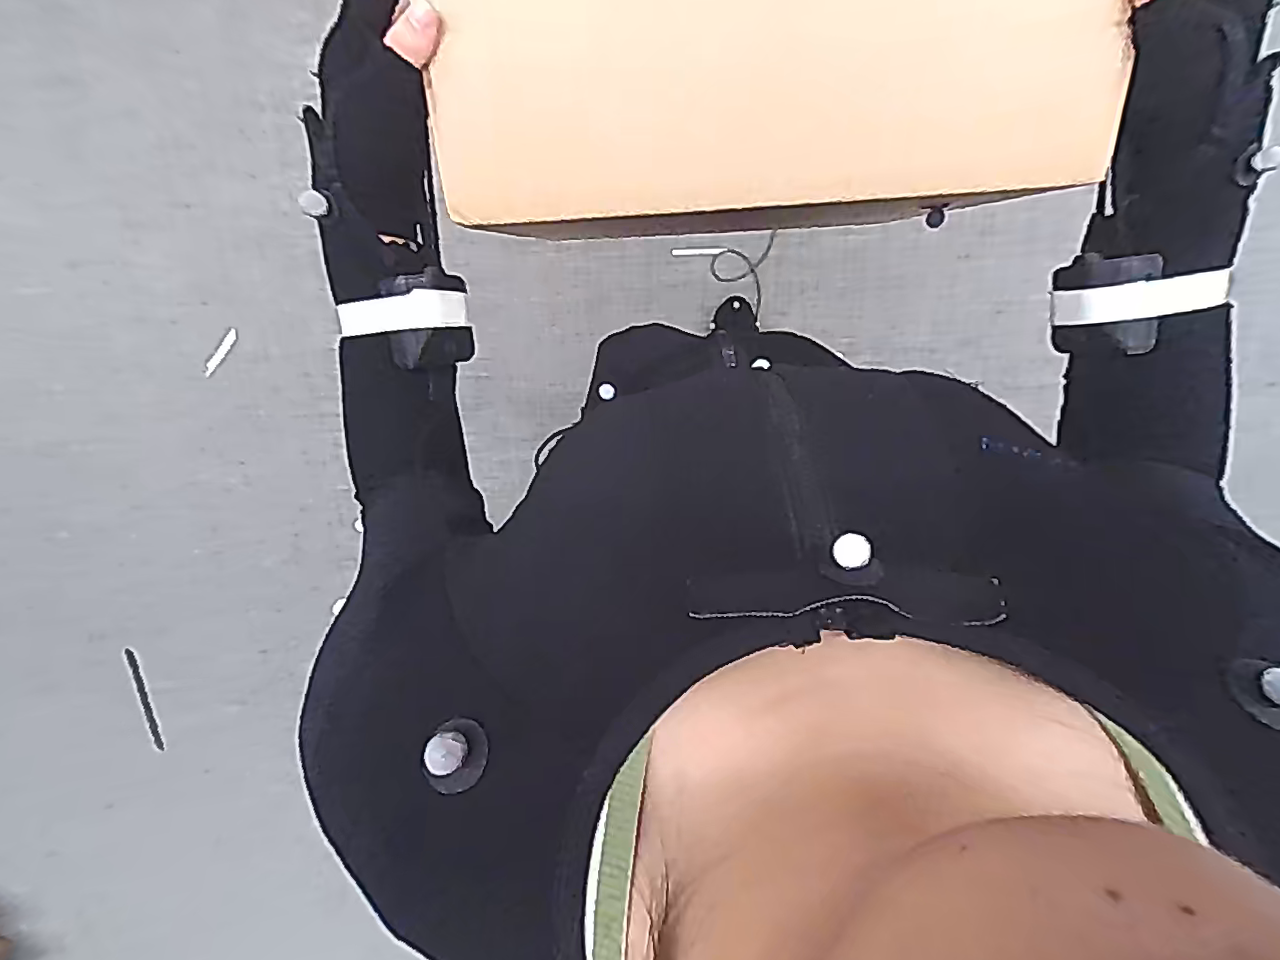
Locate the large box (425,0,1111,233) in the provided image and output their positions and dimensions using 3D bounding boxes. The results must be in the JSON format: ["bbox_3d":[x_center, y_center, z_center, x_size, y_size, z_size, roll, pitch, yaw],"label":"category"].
[{"bbox_3d":[0.076,-0.382,0.432,0.408,0.320,0.320,-2,112,4],"label":"large box"}]
